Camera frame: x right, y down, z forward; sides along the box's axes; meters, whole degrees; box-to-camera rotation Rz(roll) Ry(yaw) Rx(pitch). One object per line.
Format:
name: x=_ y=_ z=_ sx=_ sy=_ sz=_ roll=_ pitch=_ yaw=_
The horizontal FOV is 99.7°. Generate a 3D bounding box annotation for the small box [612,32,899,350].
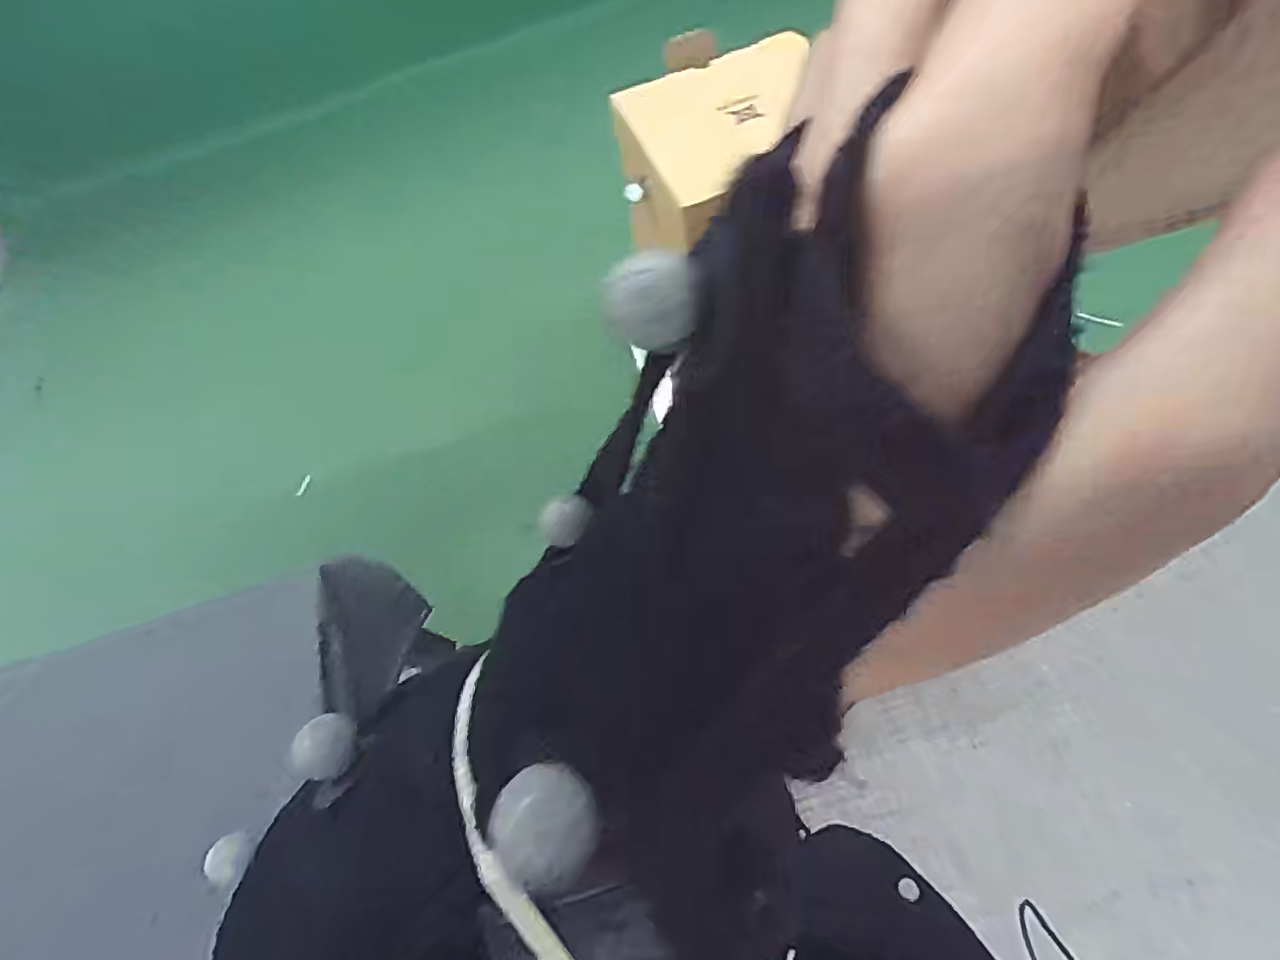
small box: x=0.090 y=-0.239 z=0.477 sx=0.168 sy=0.176 sz=0.179 roll=-20 pitch=60 yaw=-2
